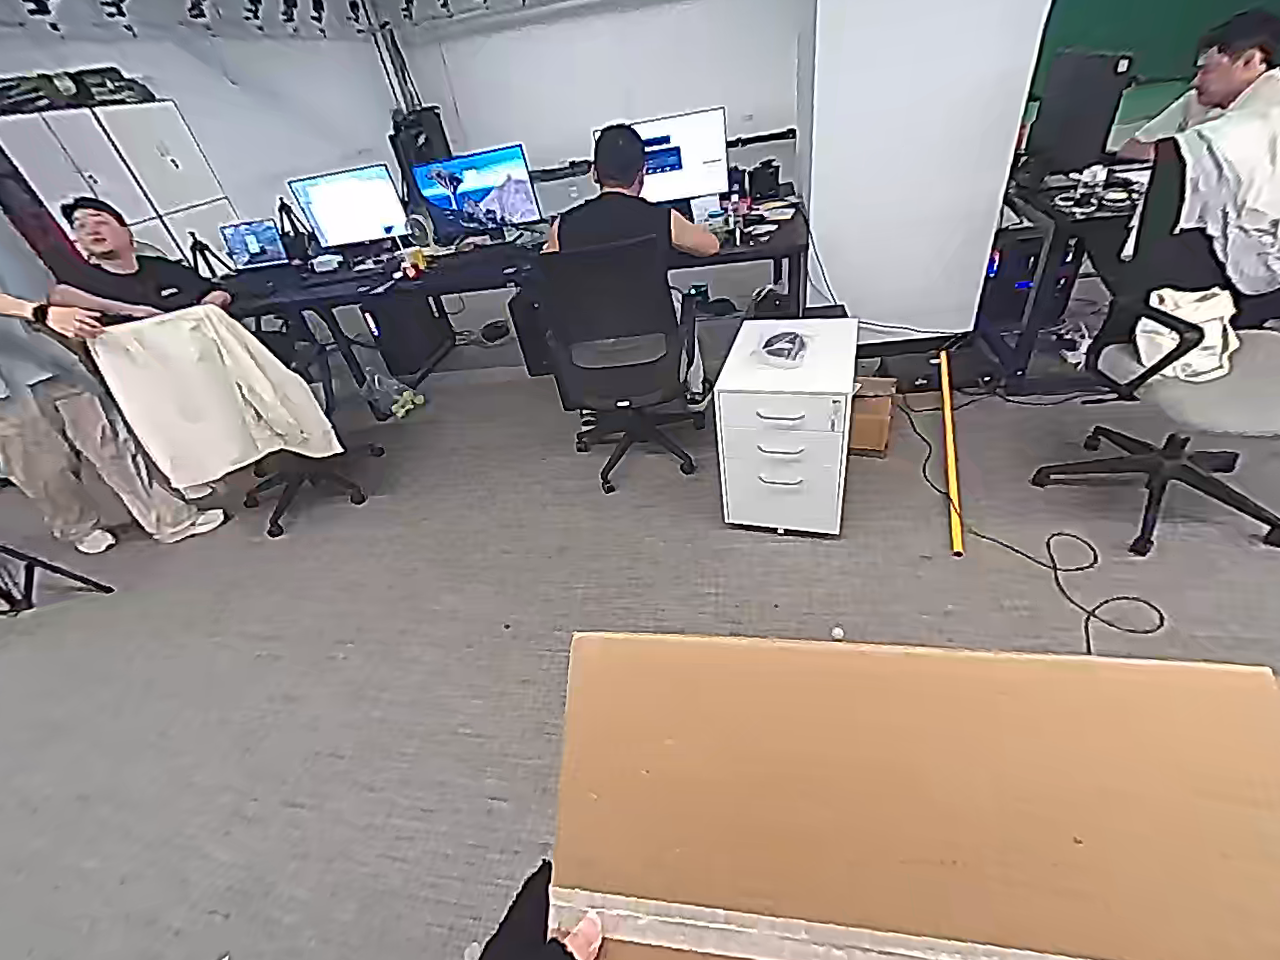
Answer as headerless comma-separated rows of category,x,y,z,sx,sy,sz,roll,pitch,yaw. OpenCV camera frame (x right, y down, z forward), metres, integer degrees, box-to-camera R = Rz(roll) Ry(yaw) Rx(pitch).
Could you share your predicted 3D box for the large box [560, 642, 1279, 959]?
large box,0.174,0.302,0.447,0.408,0.320,0.320,0,73,10
